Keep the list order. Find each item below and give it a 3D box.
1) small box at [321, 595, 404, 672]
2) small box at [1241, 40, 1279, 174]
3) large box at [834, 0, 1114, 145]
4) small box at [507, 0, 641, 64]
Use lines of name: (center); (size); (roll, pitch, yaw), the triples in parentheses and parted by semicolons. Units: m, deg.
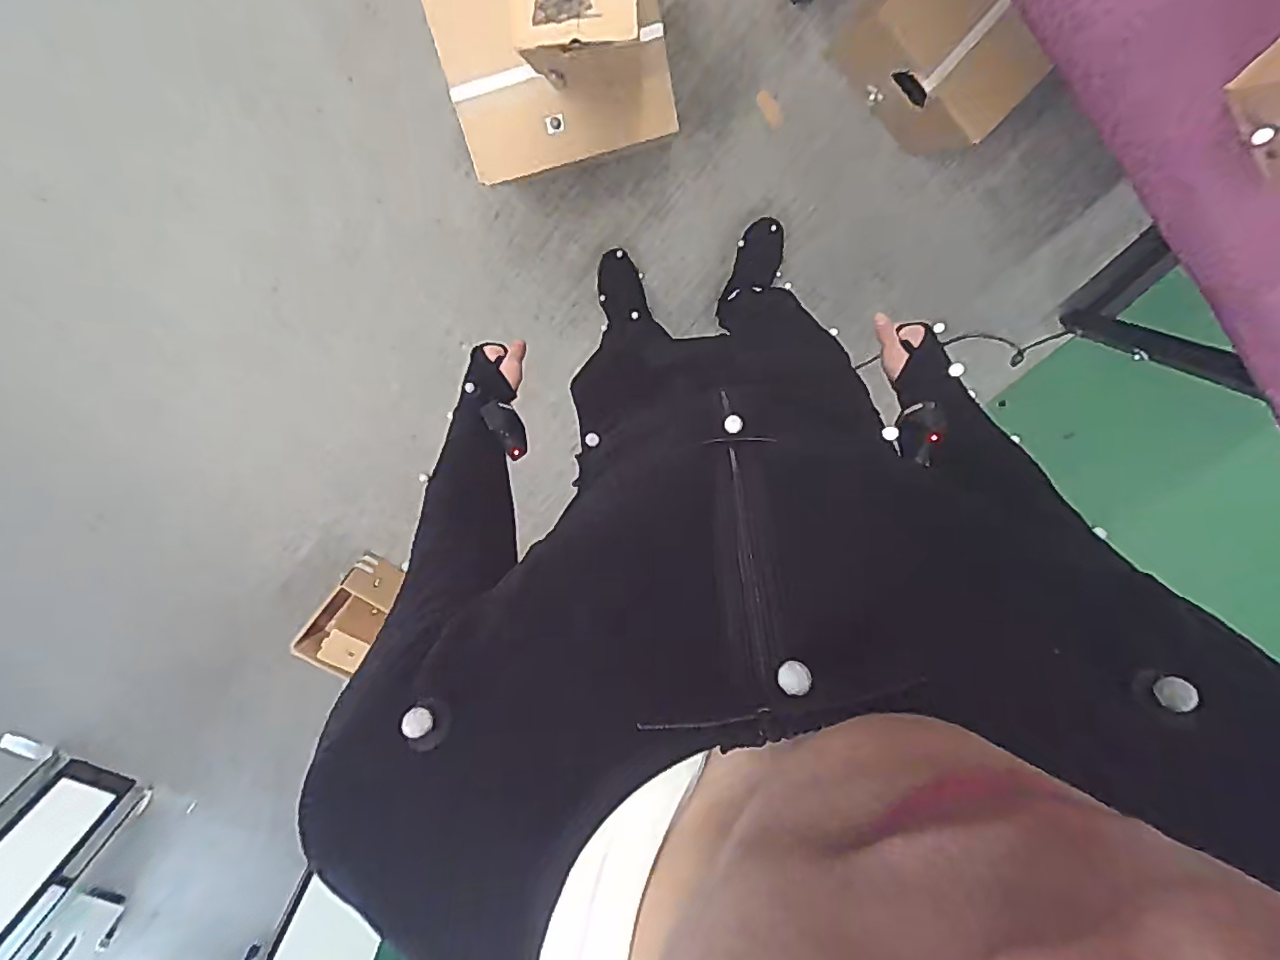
small box: (-0.977, 0.536, 1.915); (0.179, 0.176, 0.168); (33, 114, -17)
small box: (0.812, -0.441, 0.556); (0.168, 0.176, 0.179); (39, 112, -18)
large box: (0.662, -0.941, 1.037); (0.320, 0.320, 0.408); (36, 113, -18)
small box: (-0.086, -0.680, 0.725); (0.168, 0.176, 0.179); (-2, 118, 2)
